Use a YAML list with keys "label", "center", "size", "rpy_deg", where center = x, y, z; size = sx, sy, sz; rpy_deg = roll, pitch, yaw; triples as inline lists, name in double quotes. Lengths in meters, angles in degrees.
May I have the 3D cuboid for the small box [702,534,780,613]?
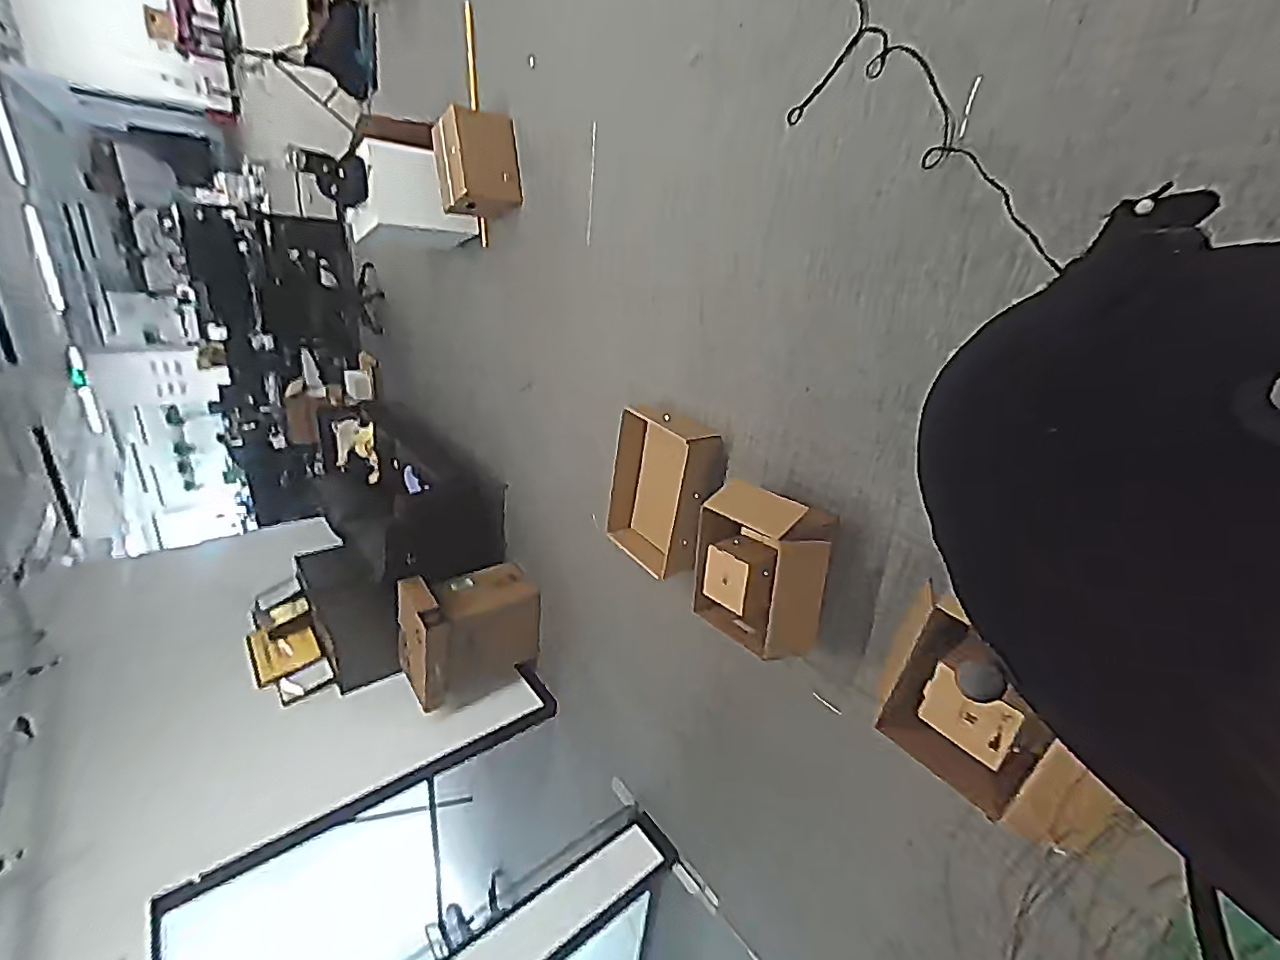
- label: "small box"
  center: [0.319, 0.284, 1.701]
  size: [0.168, 0.176, 0.179]
  rpy_deg: [25, 117, 46]
